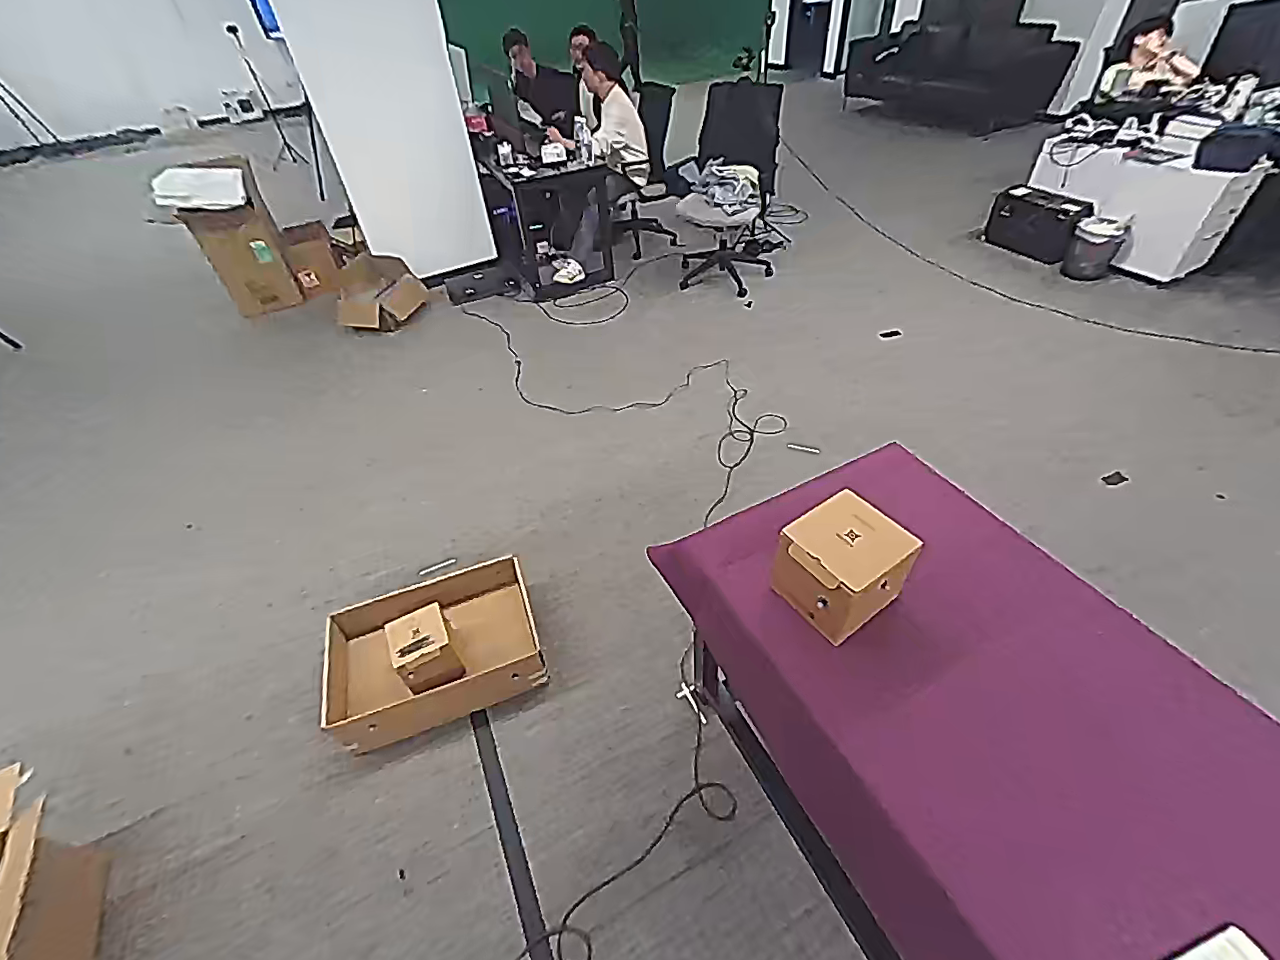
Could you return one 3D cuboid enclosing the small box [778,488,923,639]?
[{"bbox_3d":[0.367,0.153,0.980,0.179,0.176,0.168,-27,50,-21],"label":"small box"}]
